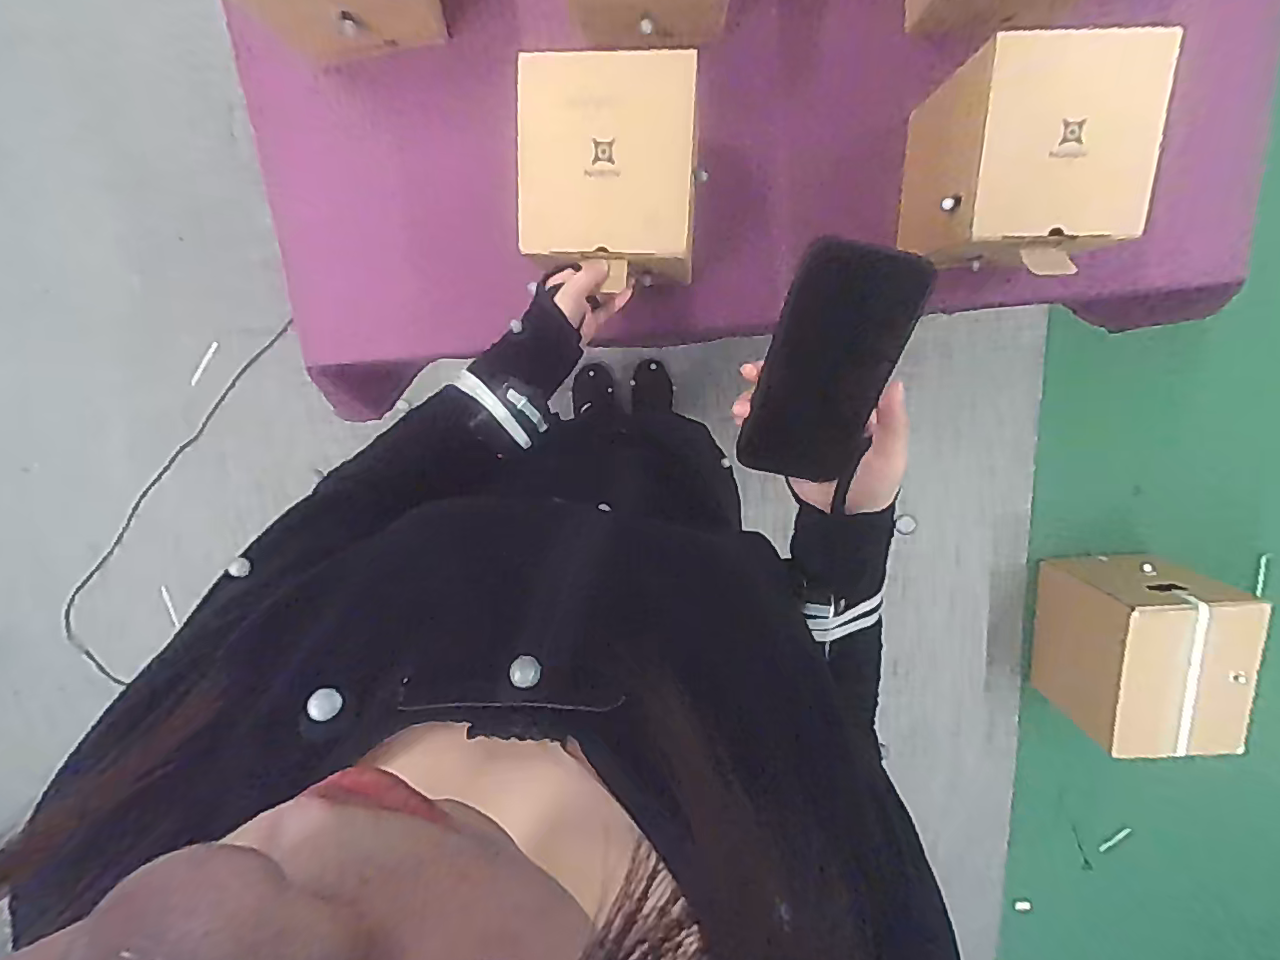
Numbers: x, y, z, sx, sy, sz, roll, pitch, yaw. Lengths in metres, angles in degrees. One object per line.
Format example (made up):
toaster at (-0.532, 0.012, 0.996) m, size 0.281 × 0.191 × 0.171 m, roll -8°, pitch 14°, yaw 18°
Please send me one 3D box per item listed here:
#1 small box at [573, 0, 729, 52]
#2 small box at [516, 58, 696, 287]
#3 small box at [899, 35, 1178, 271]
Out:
small box at (0.011, -0.567, 0.529) m, size 0.168 × 0.176 × 0.179 m, roll 2°, pitch 104°, yaw 1°
small box at (-0.027, -0.311, 0.584) m, size 0.168 × 0.176 × 0.179 m, roll 4°, pitch 101°, yaw 5°
small box at (0.399, -0.329, 0.578) m, size 0.168 × 0.176 × 0.179 m, roll 0°, pitch 104°, yaw 2°
